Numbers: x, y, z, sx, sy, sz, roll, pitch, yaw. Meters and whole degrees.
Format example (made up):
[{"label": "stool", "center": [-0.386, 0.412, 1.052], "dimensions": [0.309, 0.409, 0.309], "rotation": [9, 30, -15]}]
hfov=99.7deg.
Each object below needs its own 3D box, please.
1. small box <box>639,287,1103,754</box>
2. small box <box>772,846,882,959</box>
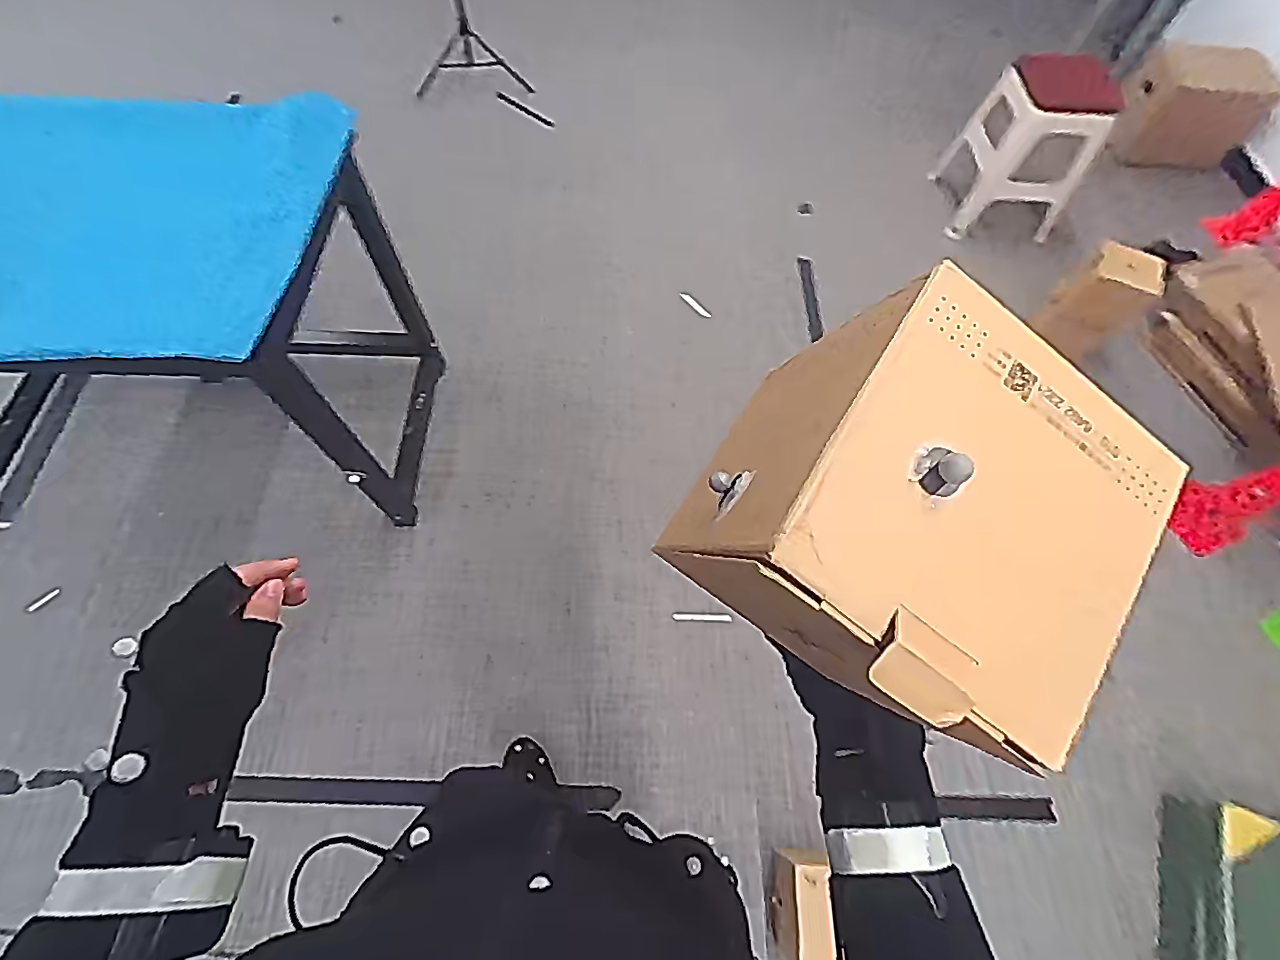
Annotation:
[{"label": "small box", "center": [0.129, 0.020, 0.328], "dimensions": [0.168, 0.179, 0.176], "rotation": [37, 77, -9]}, {"label": "small box", "center": [0.371, 0.872, 1.098], "dimensions": [0.168, 0.176, 0.179], "rotation": [5, 65, 0]}]
